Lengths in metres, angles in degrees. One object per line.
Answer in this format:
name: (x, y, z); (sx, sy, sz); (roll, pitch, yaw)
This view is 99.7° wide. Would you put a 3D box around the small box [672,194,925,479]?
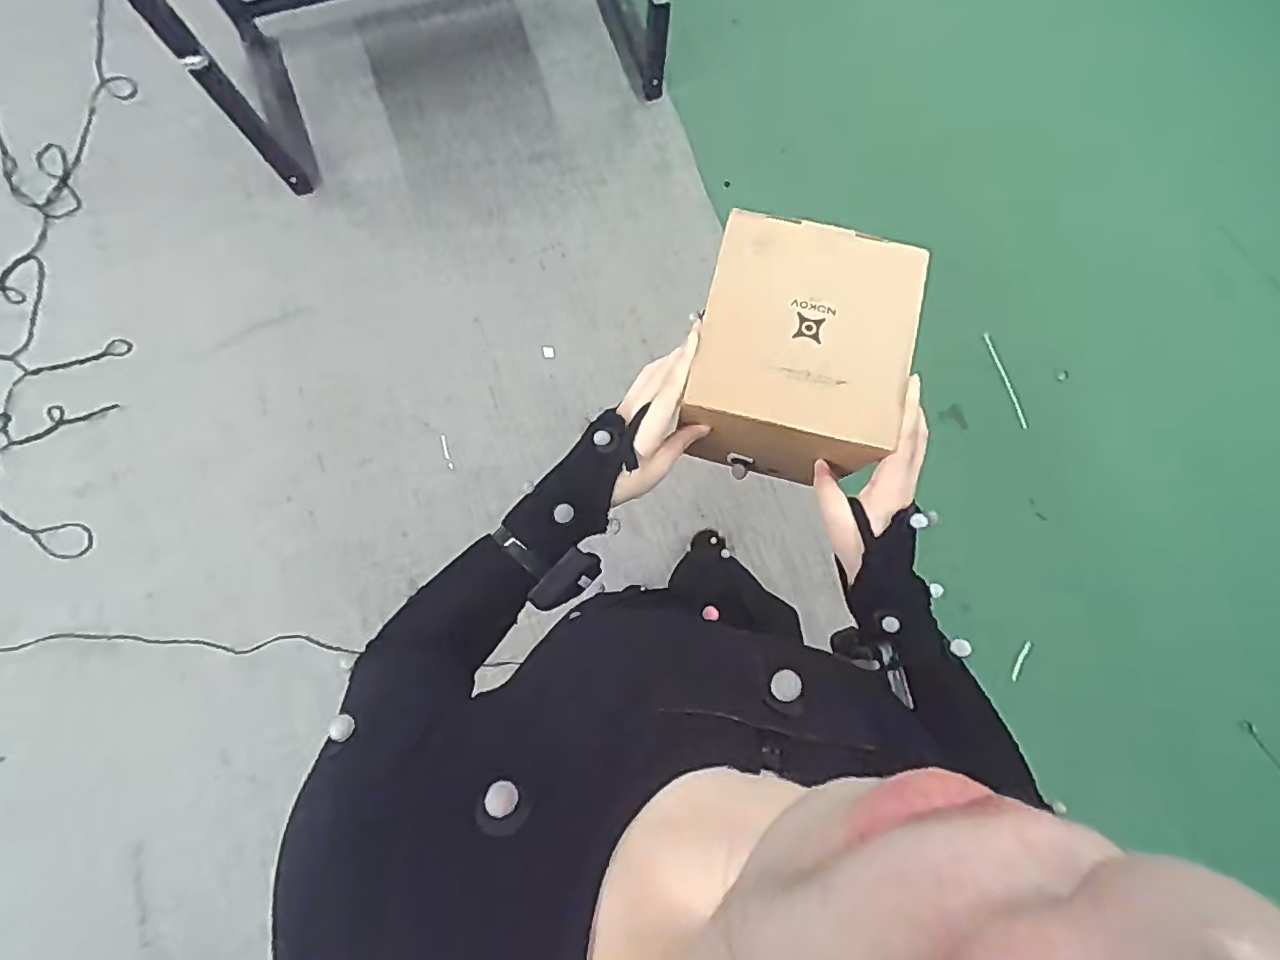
small box: (0.128, -0.114, 0.494); (0.168, 0.176, 0.179); (14, 80, 3)
